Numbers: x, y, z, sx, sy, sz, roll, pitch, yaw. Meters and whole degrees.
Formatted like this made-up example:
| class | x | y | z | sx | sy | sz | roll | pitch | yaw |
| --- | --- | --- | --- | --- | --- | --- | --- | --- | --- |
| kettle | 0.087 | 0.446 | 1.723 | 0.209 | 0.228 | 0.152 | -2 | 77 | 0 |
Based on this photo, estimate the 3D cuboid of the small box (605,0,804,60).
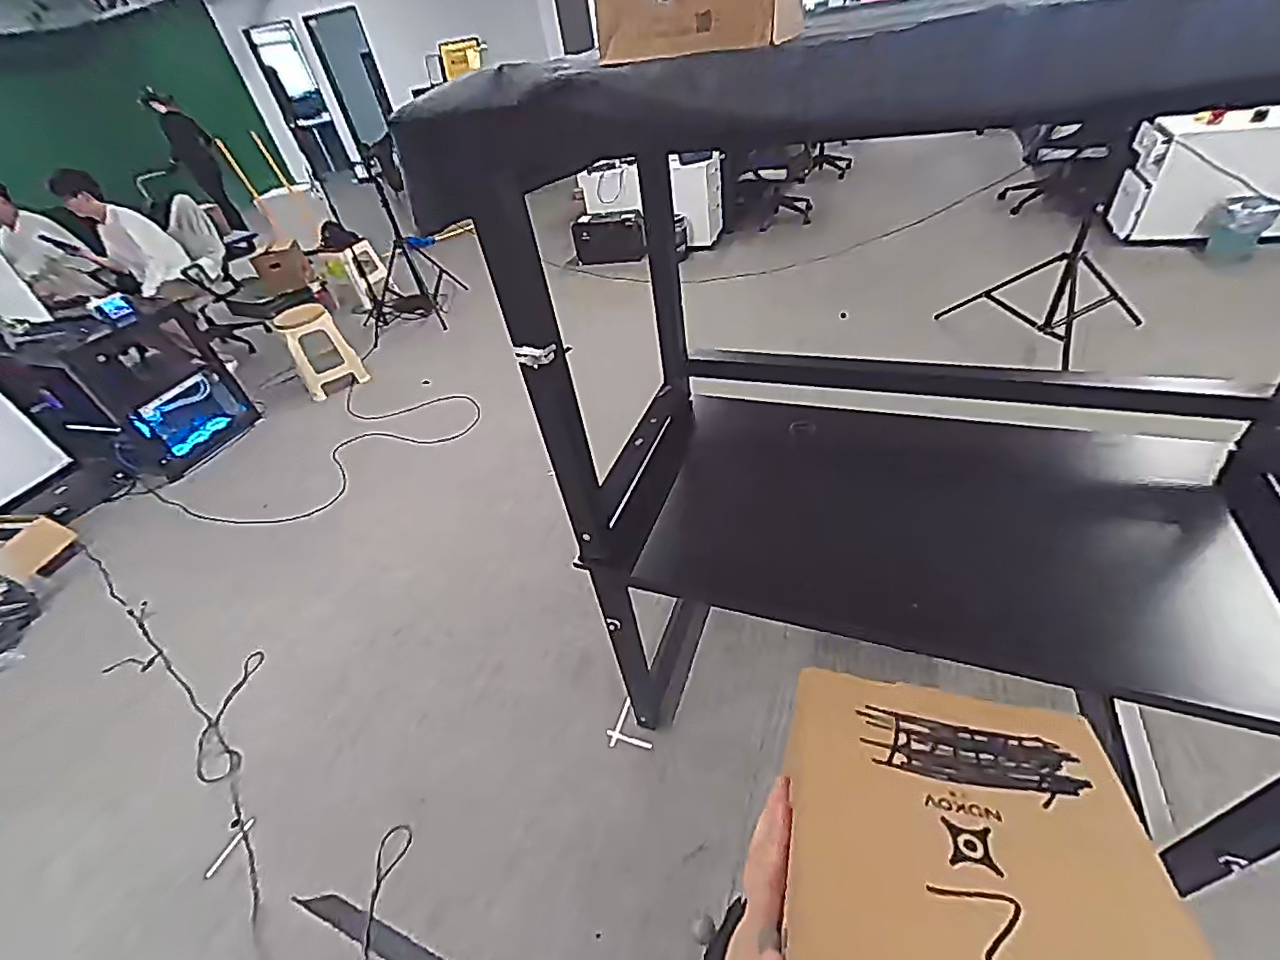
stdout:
| class | x | y | z | sx | sy | sz | roll | pitch | yaw |
| --- | --- | --- | --- | --- | --- | --- | --- | --- | --- |
| small box | 0.063 | -0.502 | 0.498 | 0.168 | 0.176 | 0.179 | 9 | 43 | 19 |
